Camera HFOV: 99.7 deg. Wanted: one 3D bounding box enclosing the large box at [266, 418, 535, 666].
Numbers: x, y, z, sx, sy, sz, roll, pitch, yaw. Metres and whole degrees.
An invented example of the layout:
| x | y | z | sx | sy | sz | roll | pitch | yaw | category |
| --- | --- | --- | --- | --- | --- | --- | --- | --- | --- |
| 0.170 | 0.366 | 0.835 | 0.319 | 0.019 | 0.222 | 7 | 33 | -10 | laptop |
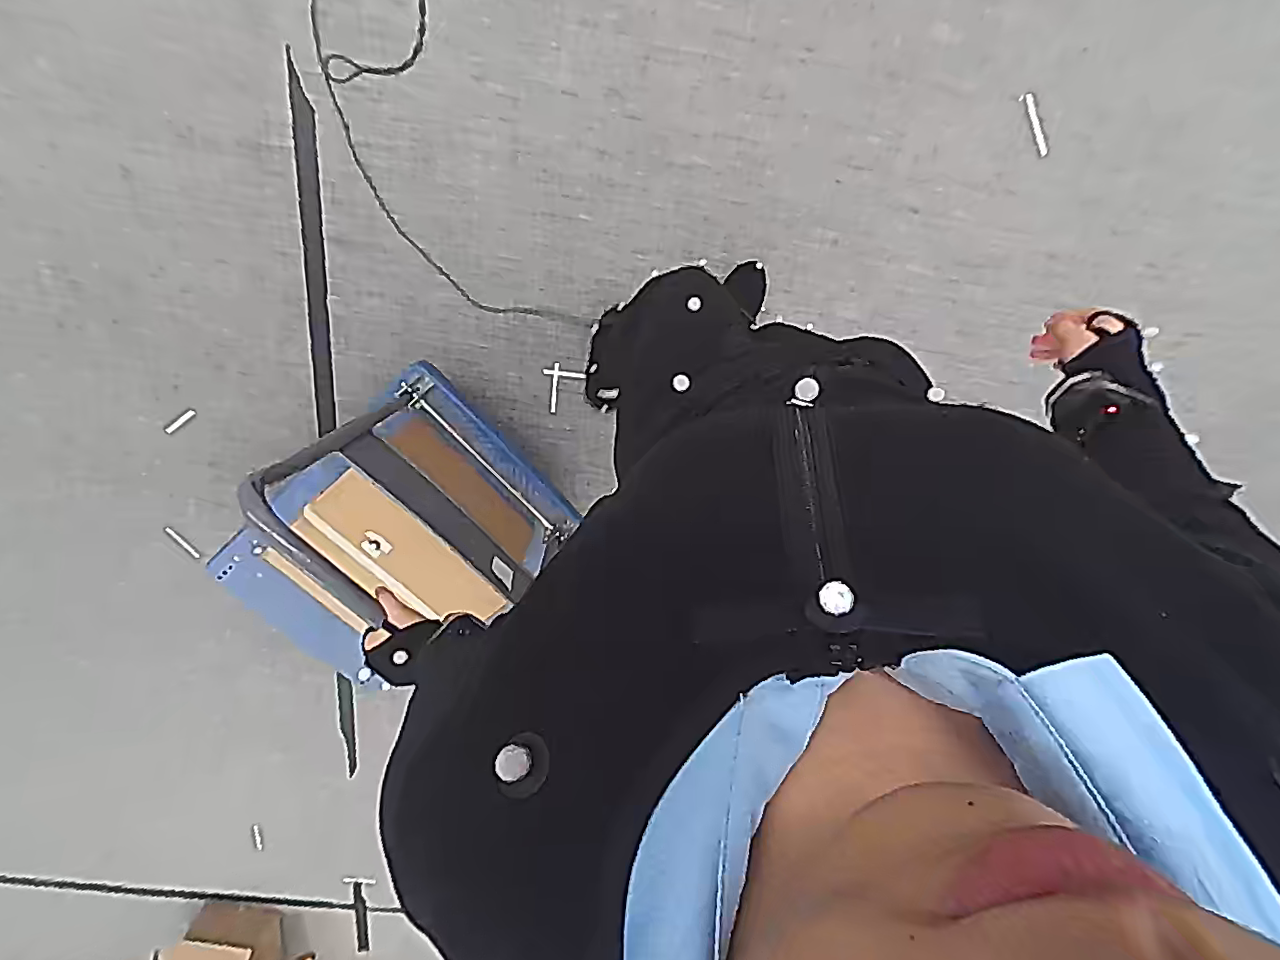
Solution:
| x | y | z | sx | sy | sz | roll | pitch | yaw | category |
| --- | --- | --- | --- | --- | --- | --- | --- | --- | --- |
| -0.508 | 0.133 | 1.242 | 0.320 | 0.320 | 0.408 | -38 | 108 | 14 | large box |
